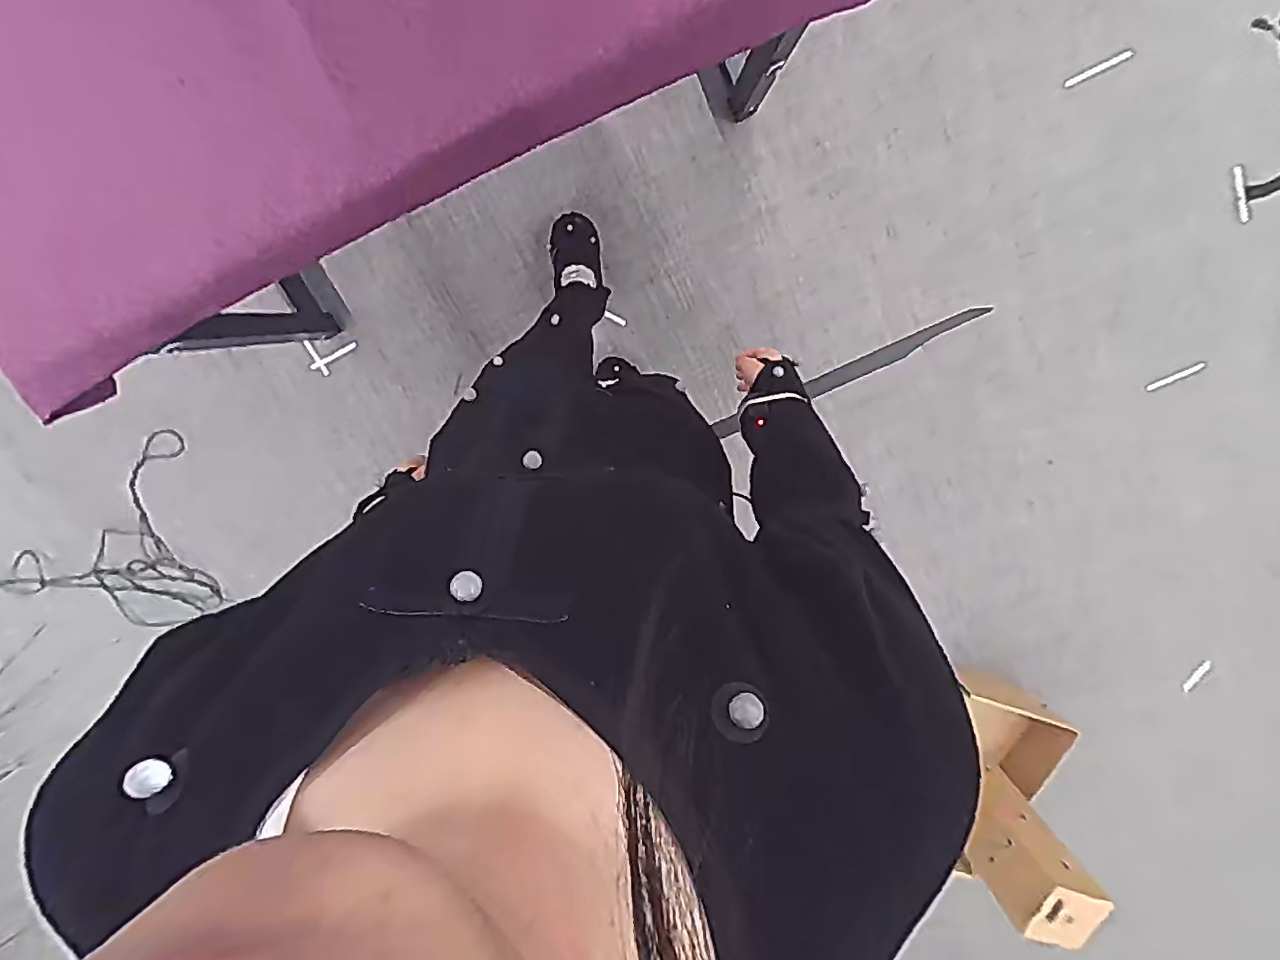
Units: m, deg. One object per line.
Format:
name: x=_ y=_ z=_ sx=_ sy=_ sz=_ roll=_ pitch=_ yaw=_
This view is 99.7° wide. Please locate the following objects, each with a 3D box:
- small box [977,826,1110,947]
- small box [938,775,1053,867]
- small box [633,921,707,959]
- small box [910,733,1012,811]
small box: x=1.007 y=1.019 z=1.369 sx=0.179 sy=0.176 sz=0.168 roll=20 pitch=104 yaw=-9
small box: x=0.996 y=0.972 z=1.526 sx=0.179 sy=0.176 sz=0.168 roll=21 pitch=104 yaw=-7
small box: x=0.084 y=1.396 z=1.519 sx=0.168 sy=0.176 sz=0.179 roll=25 pitch=104 yaw=-8
small box: x=0.989 y=0.924 z=1.681 sx=0.179 sy=0.176 sz=0.168 roll=23 pitch=104 yaw=-8
